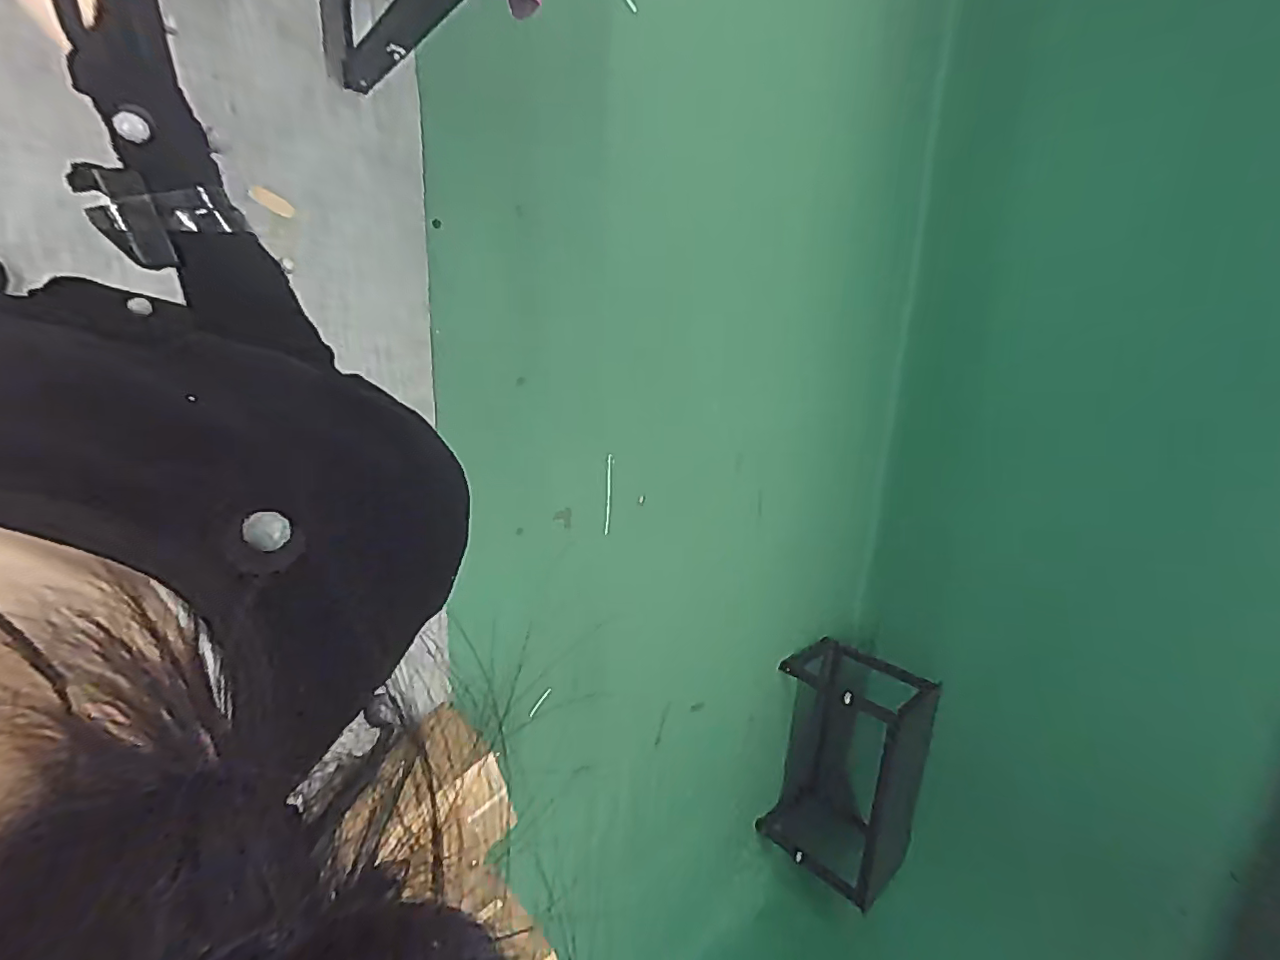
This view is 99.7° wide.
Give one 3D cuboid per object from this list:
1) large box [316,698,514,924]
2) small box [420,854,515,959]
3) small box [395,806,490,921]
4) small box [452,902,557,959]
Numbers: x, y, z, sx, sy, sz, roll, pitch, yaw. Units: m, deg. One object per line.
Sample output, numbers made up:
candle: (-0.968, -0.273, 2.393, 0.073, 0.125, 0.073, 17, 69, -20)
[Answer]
large box: (-0.654, 0.943, 1.596, 0.408, 0.320, 0.320, -28, 121, -37)
small box: (-0.403, 1.042, 1.287, 0.168, 0.176, 0.179, -21, 115, -39)
small box: (-0.507, 1.003, 1.408, 0.179, 0.176, 0.168, -23, 115, -38)
small box: (-0.288, 1.076, 1.175, 0.168, 0.176, 0.179, -22, 114, -38)
